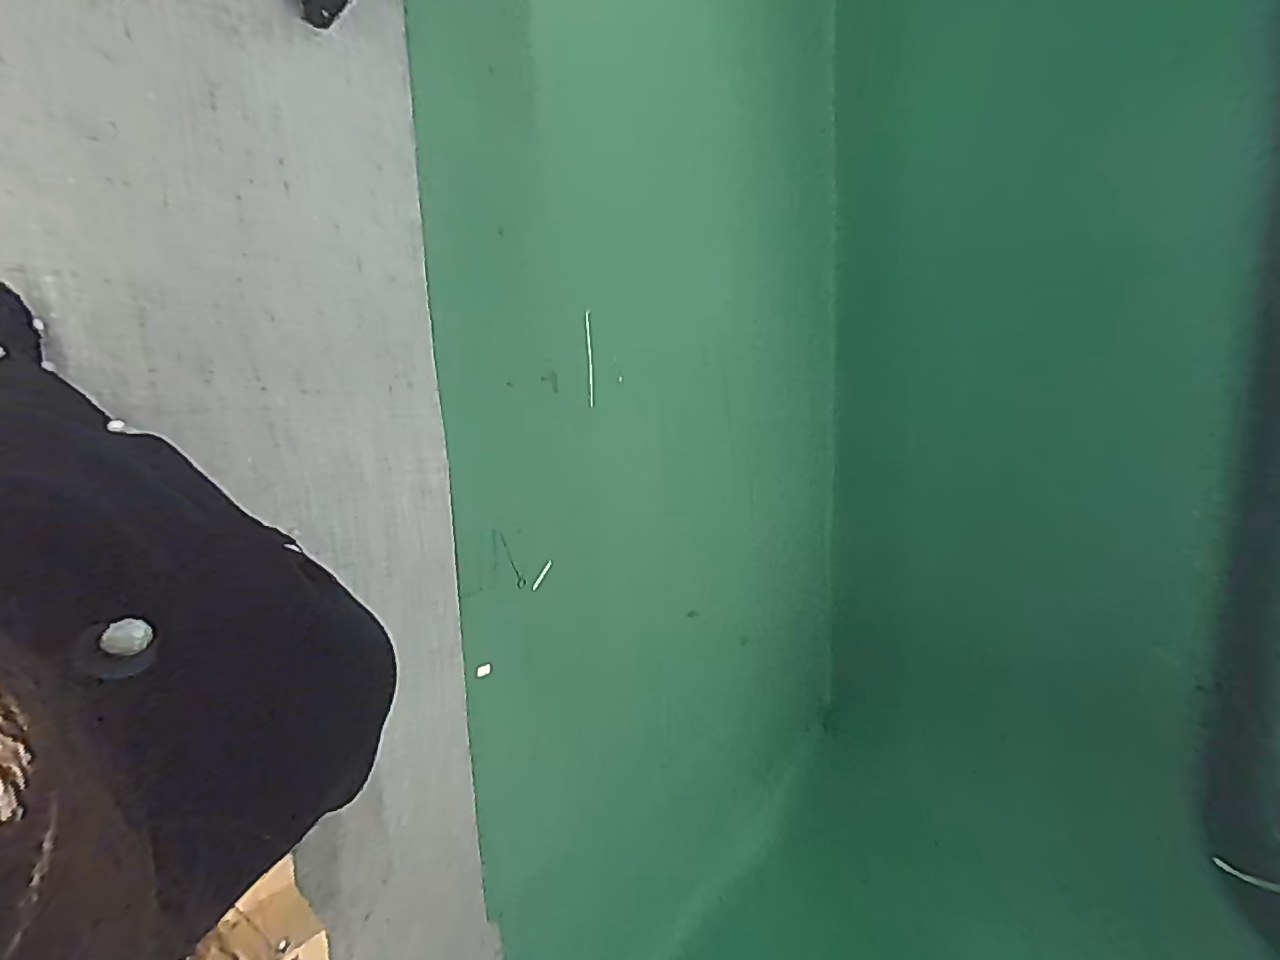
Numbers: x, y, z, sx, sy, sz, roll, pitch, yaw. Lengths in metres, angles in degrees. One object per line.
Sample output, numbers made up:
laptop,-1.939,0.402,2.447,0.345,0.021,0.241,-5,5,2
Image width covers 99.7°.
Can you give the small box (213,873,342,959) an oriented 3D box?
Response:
small box,-0.696,0.922,1.042,0.168,0.176,0.179,-10,103,-50
